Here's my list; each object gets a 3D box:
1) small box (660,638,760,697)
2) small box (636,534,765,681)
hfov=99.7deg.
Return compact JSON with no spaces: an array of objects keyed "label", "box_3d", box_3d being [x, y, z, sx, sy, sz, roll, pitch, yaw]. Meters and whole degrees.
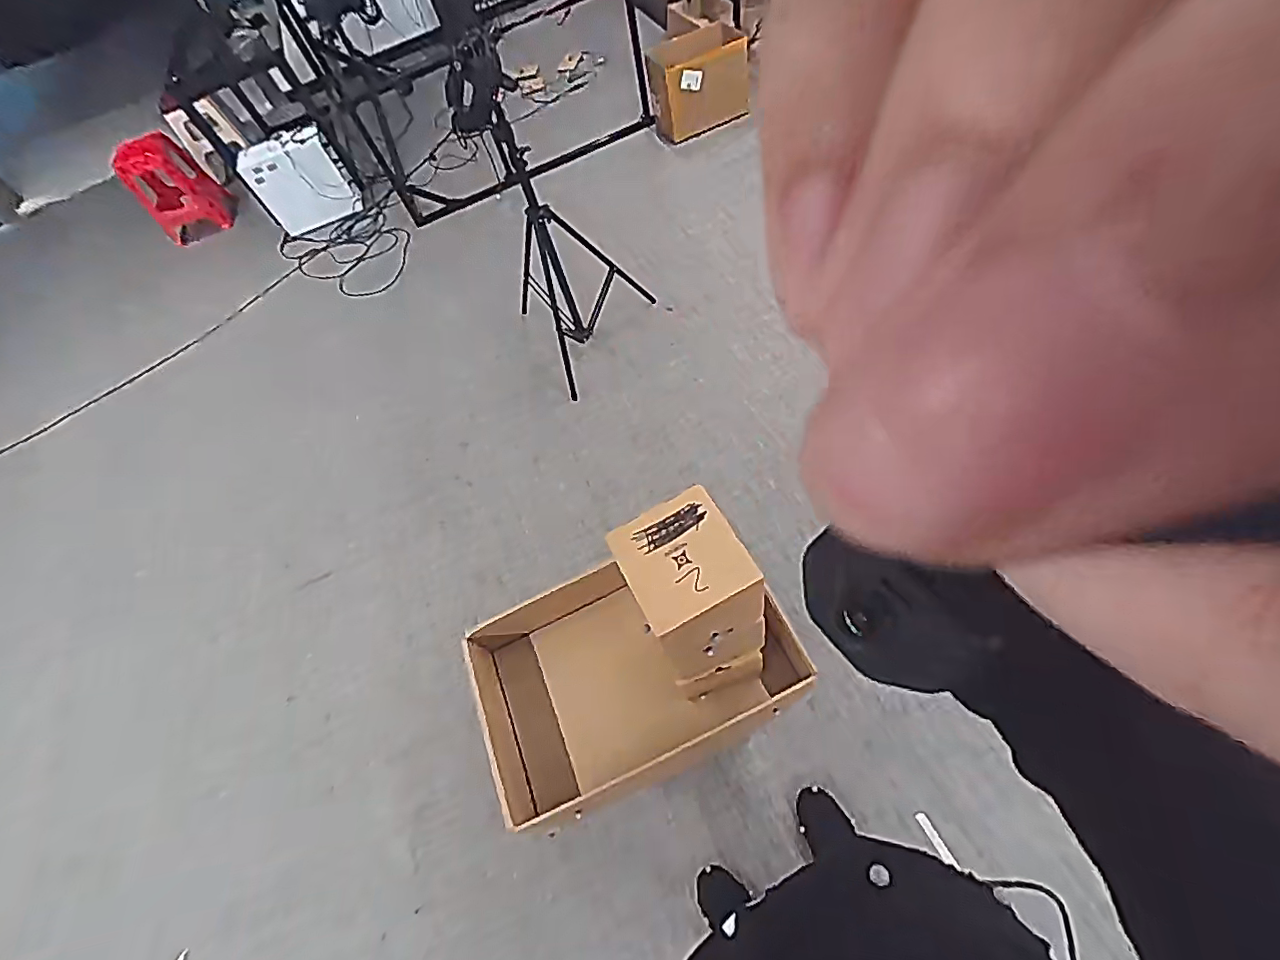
[{"label":"small box","box_3d":[0.134,0.323,1.089,0.168,0.176,0.179,-20,56,-1]},{"label":"small box","box_3d":[0.108,0.230,0.956,0.168,0.176,0.179,-23,57,-2]}]
